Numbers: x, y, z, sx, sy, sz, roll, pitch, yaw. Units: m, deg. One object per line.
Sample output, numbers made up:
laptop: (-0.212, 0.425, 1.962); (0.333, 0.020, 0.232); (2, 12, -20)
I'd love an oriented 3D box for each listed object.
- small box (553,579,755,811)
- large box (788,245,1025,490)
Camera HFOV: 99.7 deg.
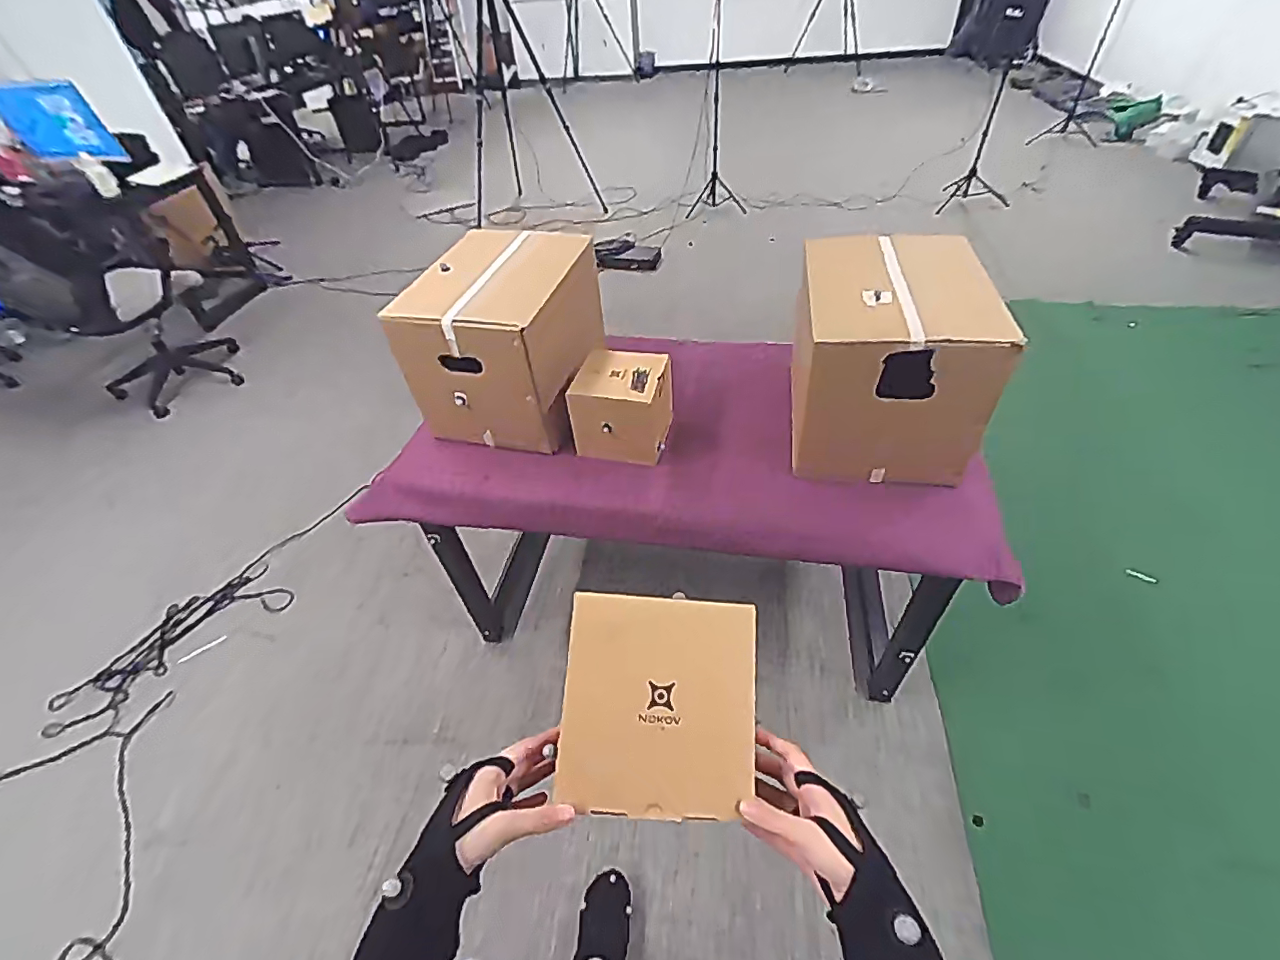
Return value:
small box: (0.011, 0.203, 0.536); (0.168, 0.176, 0.179); (5, 72, -2)
large box: (0.476, -0.233, 1.080); (0.320, 0.320, 0.408); (2, 46, 11)
